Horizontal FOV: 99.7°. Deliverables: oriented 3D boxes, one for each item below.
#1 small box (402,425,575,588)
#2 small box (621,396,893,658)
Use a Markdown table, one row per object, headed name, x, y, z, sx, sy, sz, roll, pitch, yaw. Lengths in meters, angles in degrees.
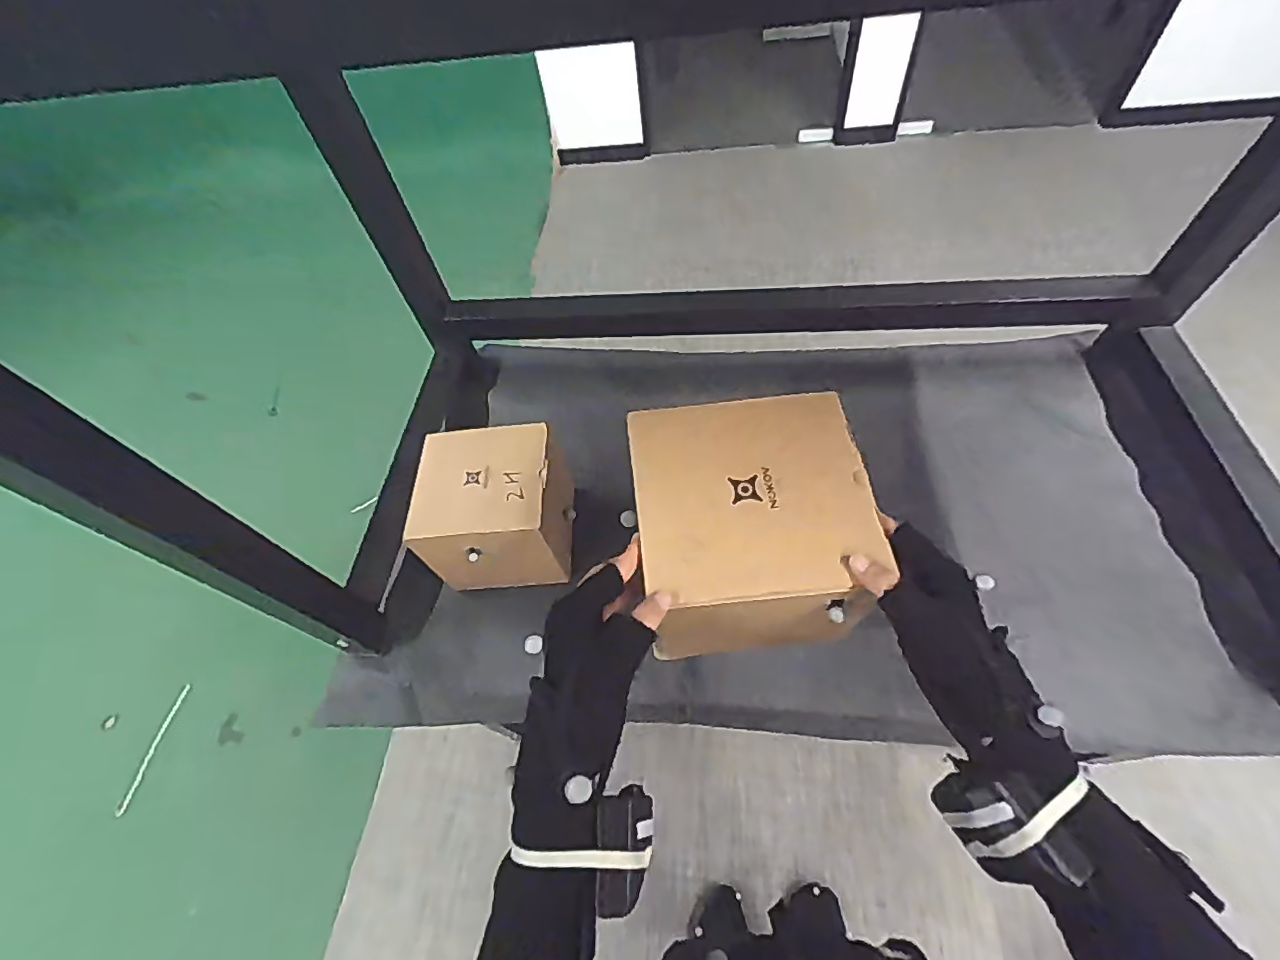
| name | x | y | z | sx | sy | sz | roll | pitch | yaw |
| --- | --- | --- | --- | --- | --- | --- | --- | --- | --- |
| small box | -0.198 | 0.044 | 0.761 | 0.179 | 0.176 | 0.168 | -5 | 57 | 4 |
| small box | 0.082 | 0.050 | 0.469 | 0.179 | 0.176 | 0.168 | -6 | 61 | 0 |
